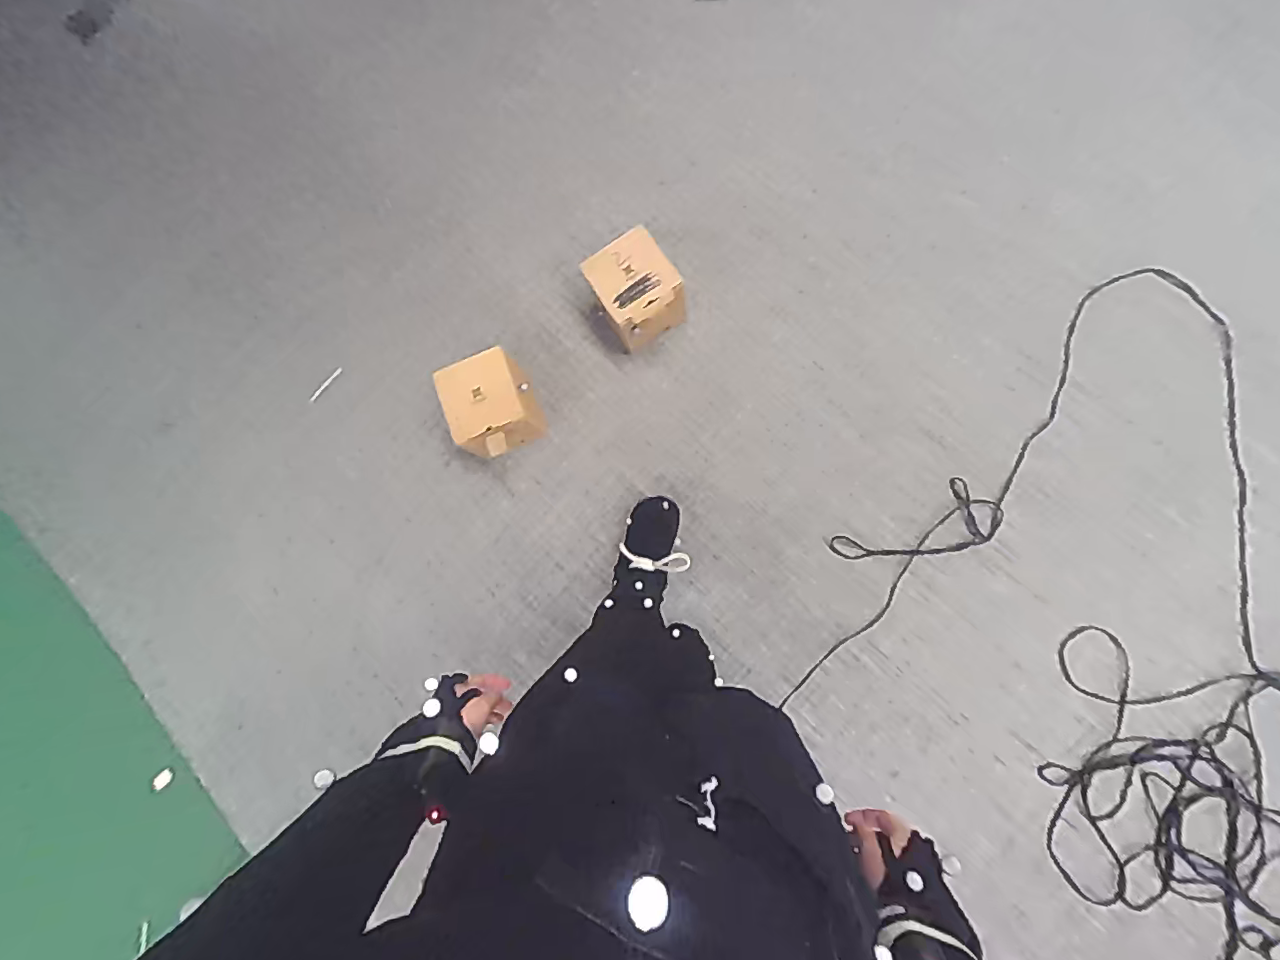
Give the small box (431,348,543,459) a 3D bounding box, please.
[{"bbox_3d":[-0.340,-0.166,1.225,0.168,0.176,0.179,-22,80,4],"label":"small box"}]
